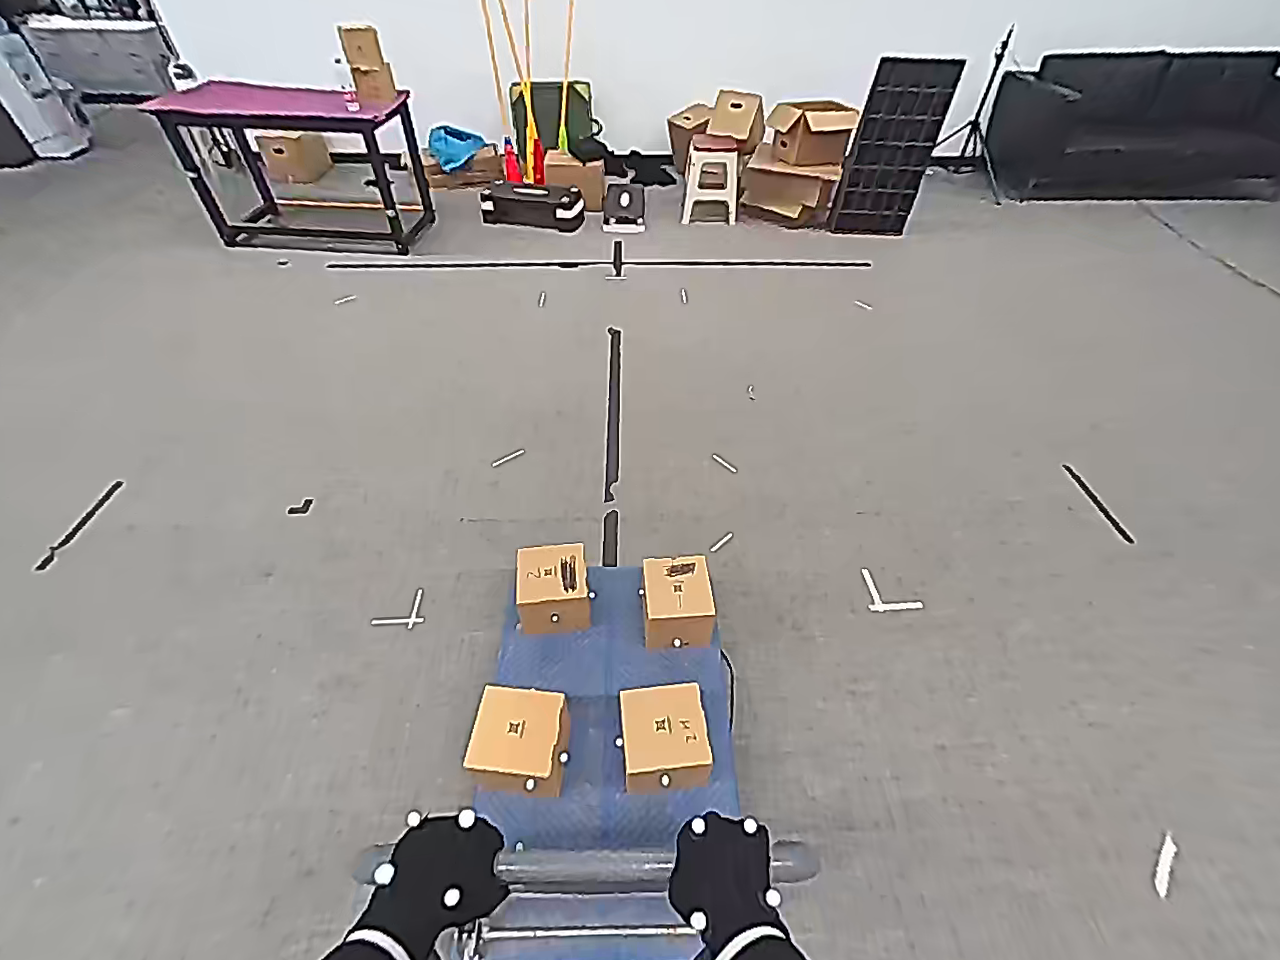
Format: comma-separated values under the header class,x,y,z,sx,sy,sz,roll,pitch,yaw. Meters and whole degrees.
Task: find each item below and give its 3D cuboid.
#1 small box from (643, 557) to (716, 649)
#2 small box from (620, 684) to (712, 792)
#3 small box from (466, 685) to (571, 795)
class,x,y,z,sx,sy,sz,roll,pitch,yaw
small box,0.097,0.323,1.416,0.168,0.176,0.179,-2,48,-3
small box,0.052,0.567,1.185,0.179,0.176,0.168,-4,47,-5
small box,-0.254,0.569,1.178,0.179,0.176,0.168,5,46,2
